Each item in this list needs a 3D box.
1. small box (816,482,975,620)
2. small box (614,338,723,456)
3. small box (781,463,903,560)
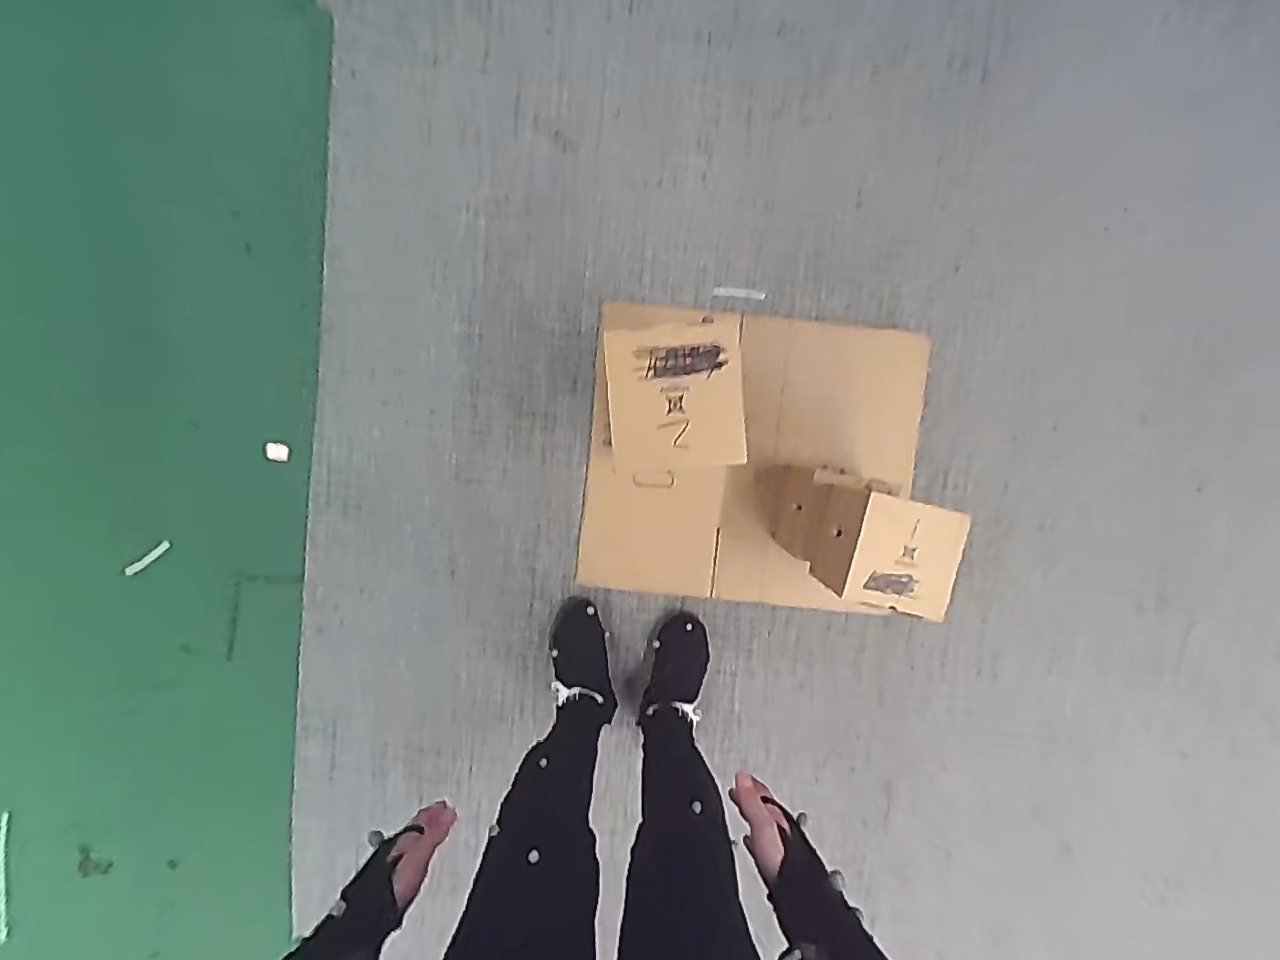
[{"bbox_3d":[0.413,0.109,0.908,0.168,0.176,0.179,14,93,-1],"label":"small box"},{"bbox_3d":[0.044,-0.131,0.896,0.168,0.176,0.179,-1,93,0],"label":"small box"},{"bbox_3d":[0.388,0.067,1.071,0.168,0.176,0.179,10,93,0],"label":"small box"}]
